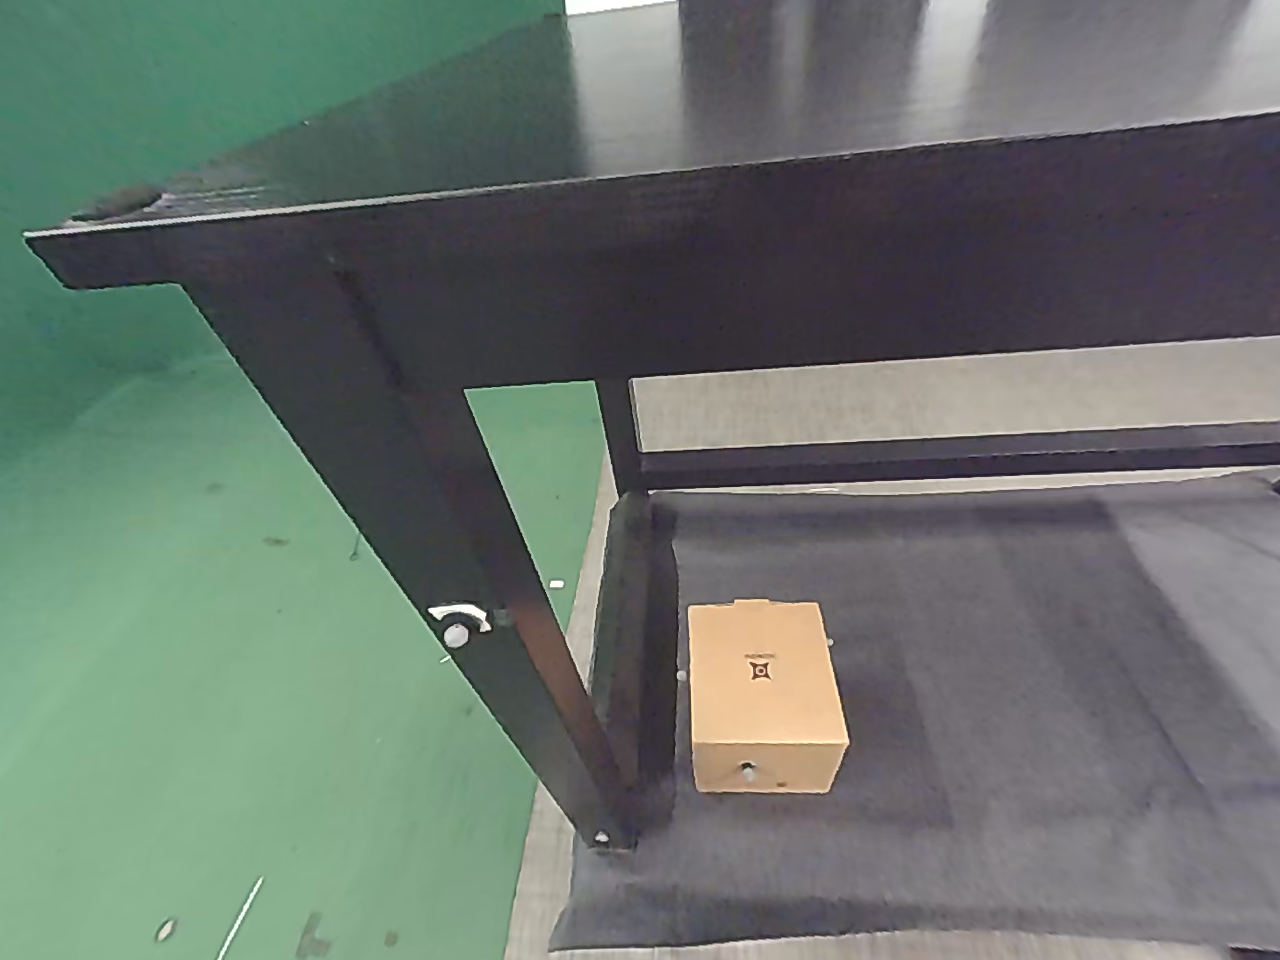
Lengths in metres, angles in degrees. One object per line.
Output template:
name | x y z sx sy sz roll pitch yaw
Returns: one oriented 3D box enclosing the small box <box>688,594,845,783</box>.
small box | 0.149 0.267 0.686 0.168 0.176 0.179 -3 43 6
